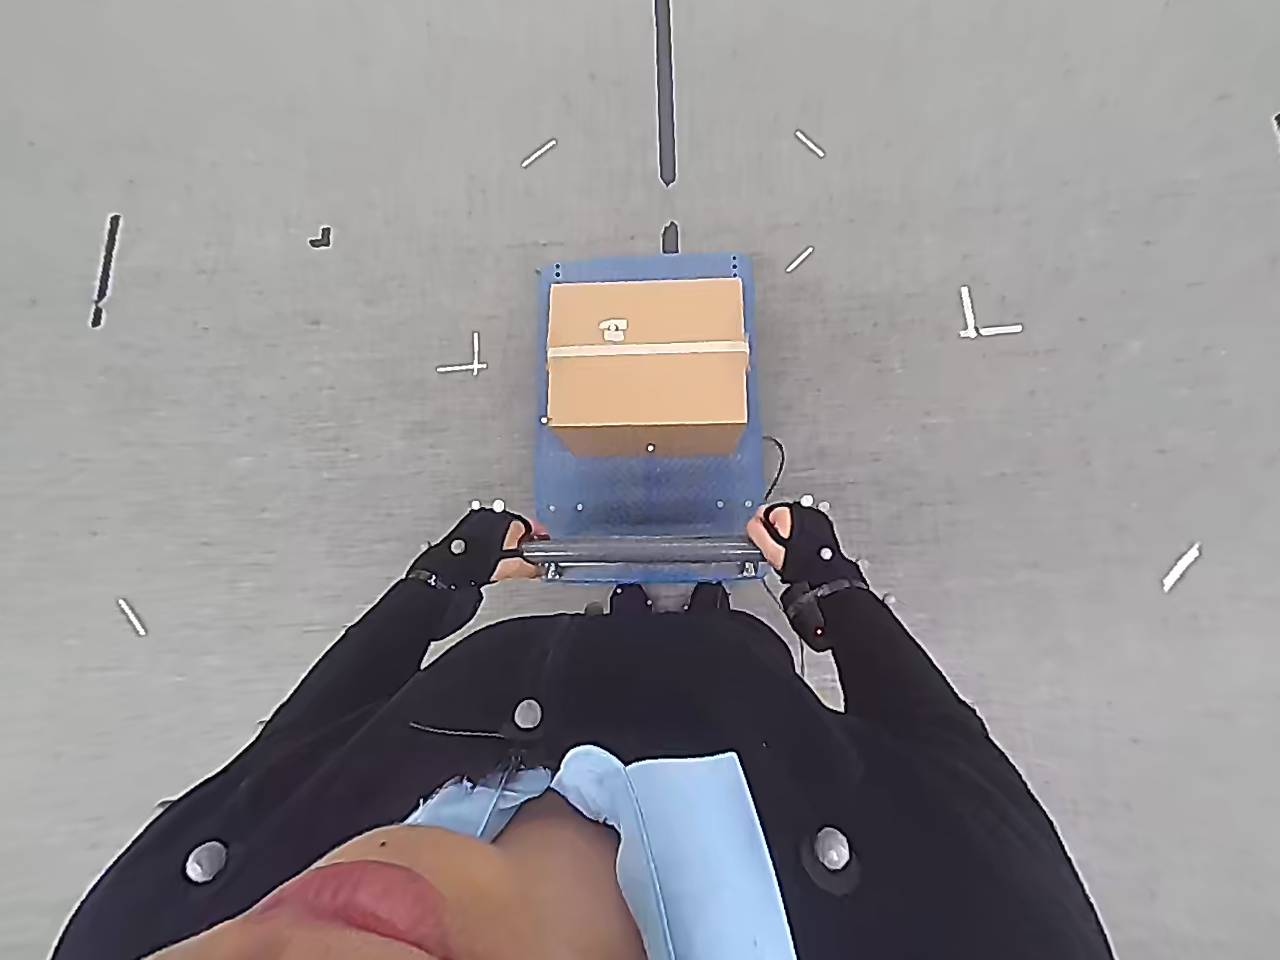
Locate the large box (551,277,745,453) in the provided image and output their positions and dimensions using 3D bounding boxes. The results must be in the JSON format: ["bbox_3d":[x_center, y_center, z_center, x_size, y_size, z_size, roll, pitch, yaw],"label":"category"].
[{"bbox_3d":[0.024,-0.247,1.274,0.408,0.320,0.320,-1,80,4],"label":"large box"}]
